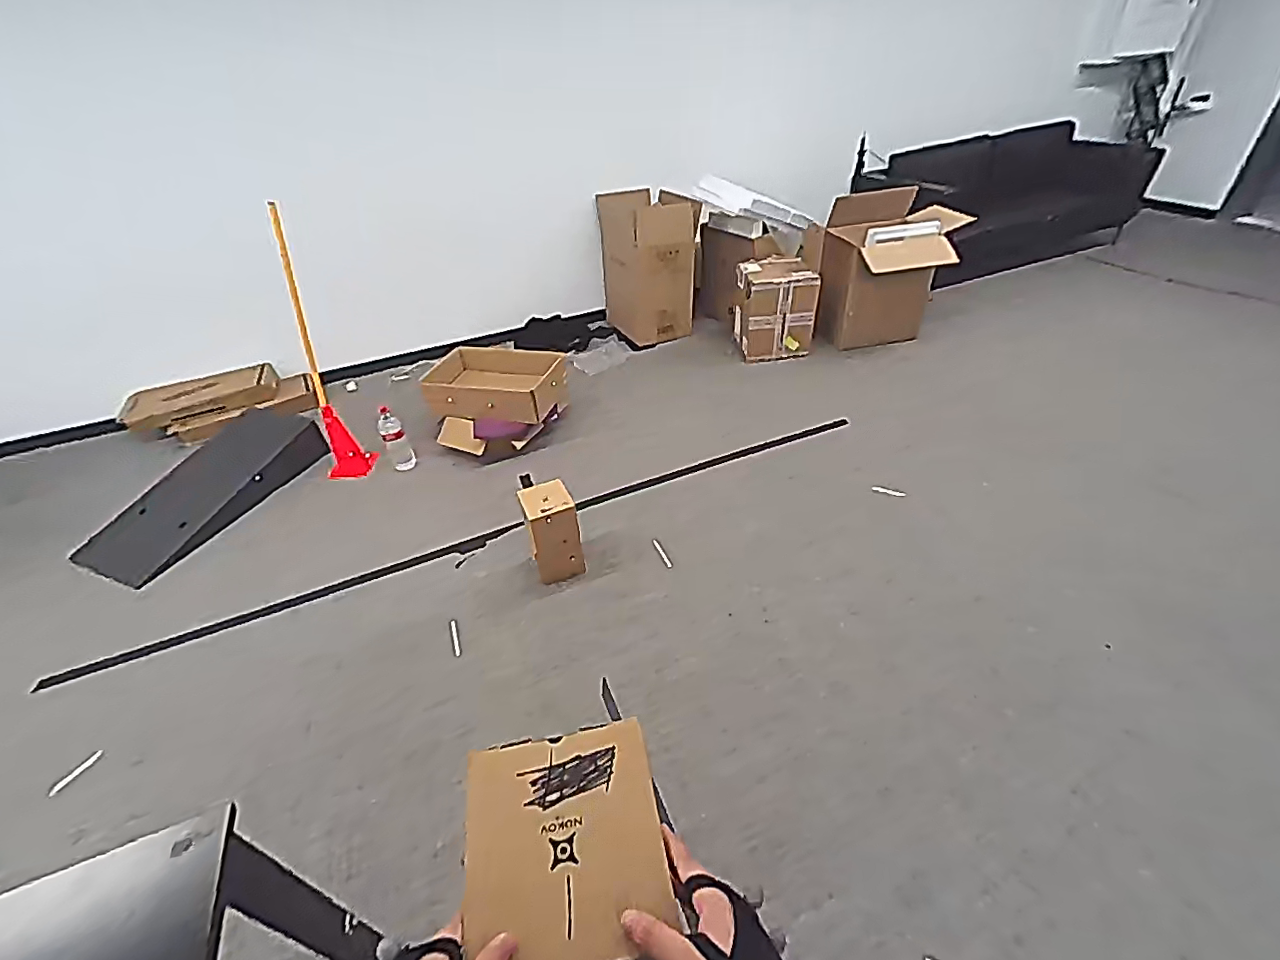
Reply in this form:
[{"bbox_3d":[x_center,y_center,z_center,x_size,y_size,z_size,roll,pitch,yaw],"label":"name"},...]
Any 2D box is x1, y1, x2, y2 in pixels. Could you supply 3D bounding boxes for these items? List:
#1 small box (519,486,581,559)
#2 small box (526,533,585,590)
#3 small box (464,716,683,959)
[{"bbox_3d":[-0.323,0.152,1.942,0.168,0.176,0.179,-19,38,-17],"label":"small box"},{"bbox_3d":[-0.314,0.282,2.042,0.179,0.176,0.168,-18,39,-15],"label":"small box"},{"bbox_3d":[-0.062,0.358,0.511,0.168,0.176,0.179,-9,44,-7],"label":"small box"}]
